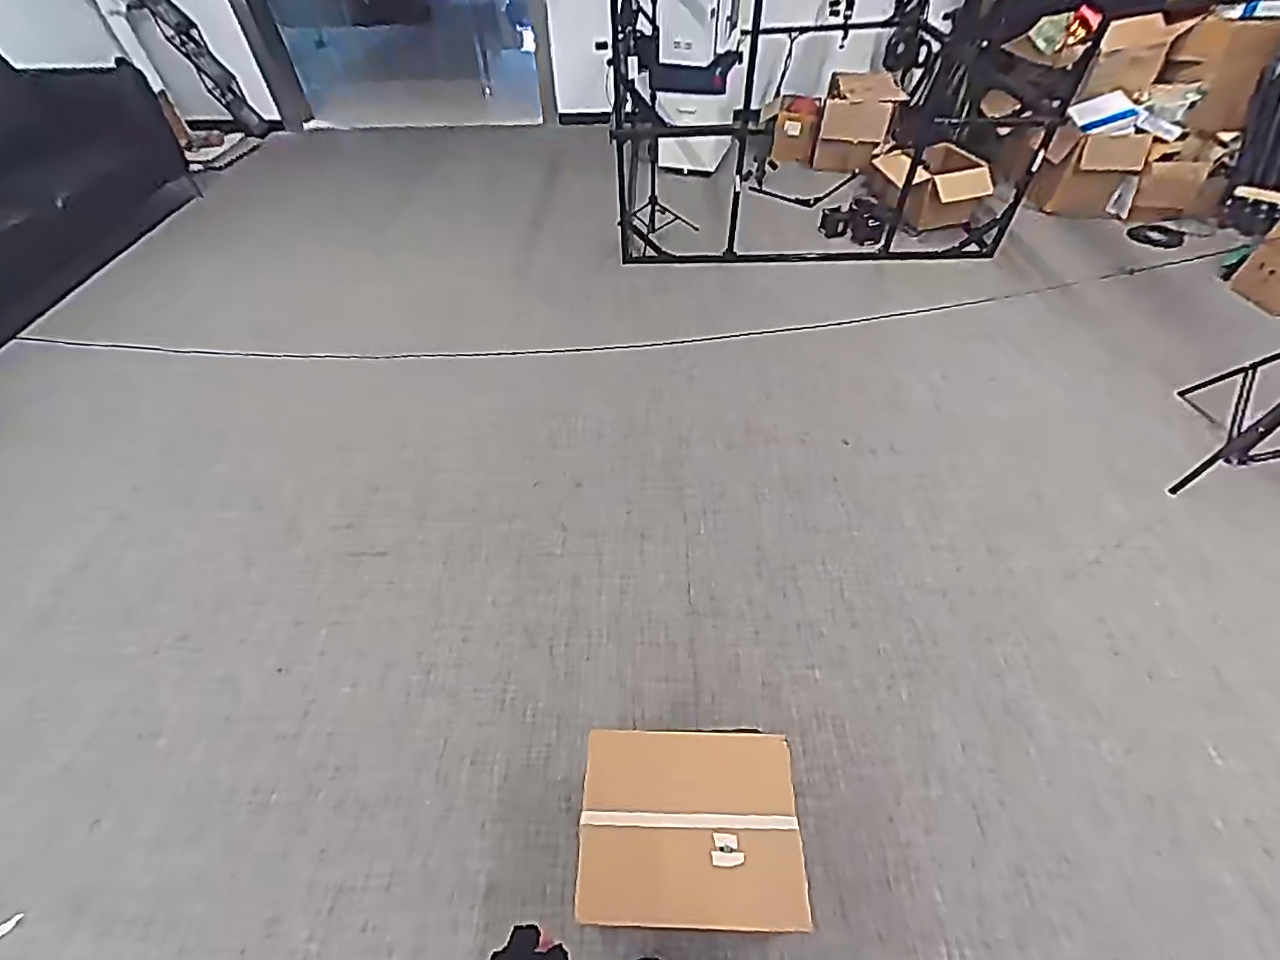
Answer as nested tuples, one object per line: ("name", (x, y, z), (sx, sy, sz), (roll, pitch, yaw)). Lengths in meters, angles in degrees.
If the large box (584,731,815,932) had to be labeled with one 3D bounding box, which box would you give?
("large box", (0.105, 0.736, 1.129), (0.408, 0.320, 0.320), (1, 50, 2))
